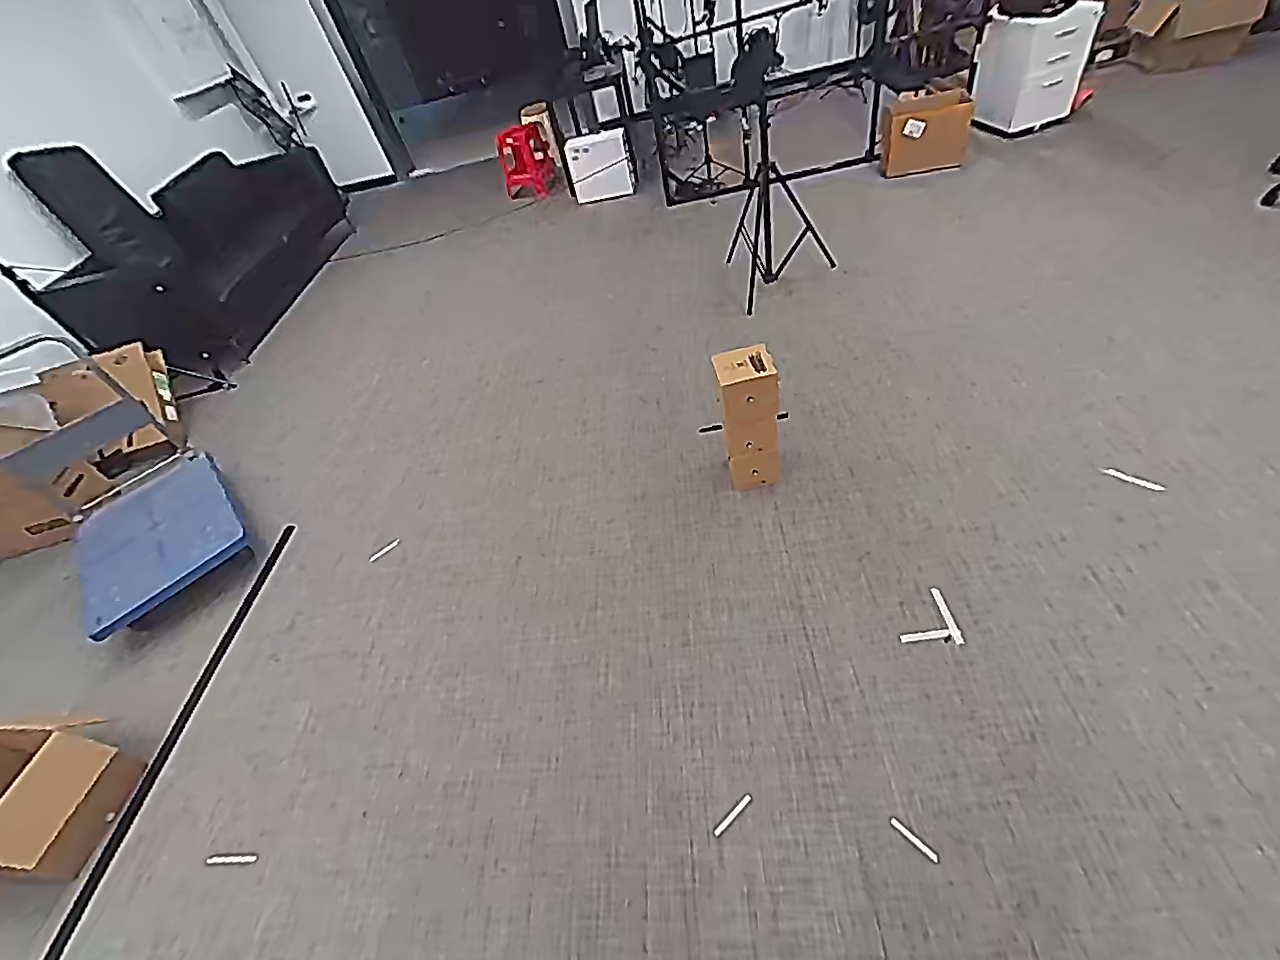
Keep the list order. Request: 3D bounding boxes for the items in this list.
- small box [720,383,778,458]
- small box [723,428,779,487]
[{"bbox_3d":[0.372,-0.202,1.854,0.168,0.176,0.179,-11,47,7],"label":"small box"},{"bbox_3d":[0.406,-0.092,1.970,0.168,0.176,0.179,-11,45,5],"label":"small box"}]
